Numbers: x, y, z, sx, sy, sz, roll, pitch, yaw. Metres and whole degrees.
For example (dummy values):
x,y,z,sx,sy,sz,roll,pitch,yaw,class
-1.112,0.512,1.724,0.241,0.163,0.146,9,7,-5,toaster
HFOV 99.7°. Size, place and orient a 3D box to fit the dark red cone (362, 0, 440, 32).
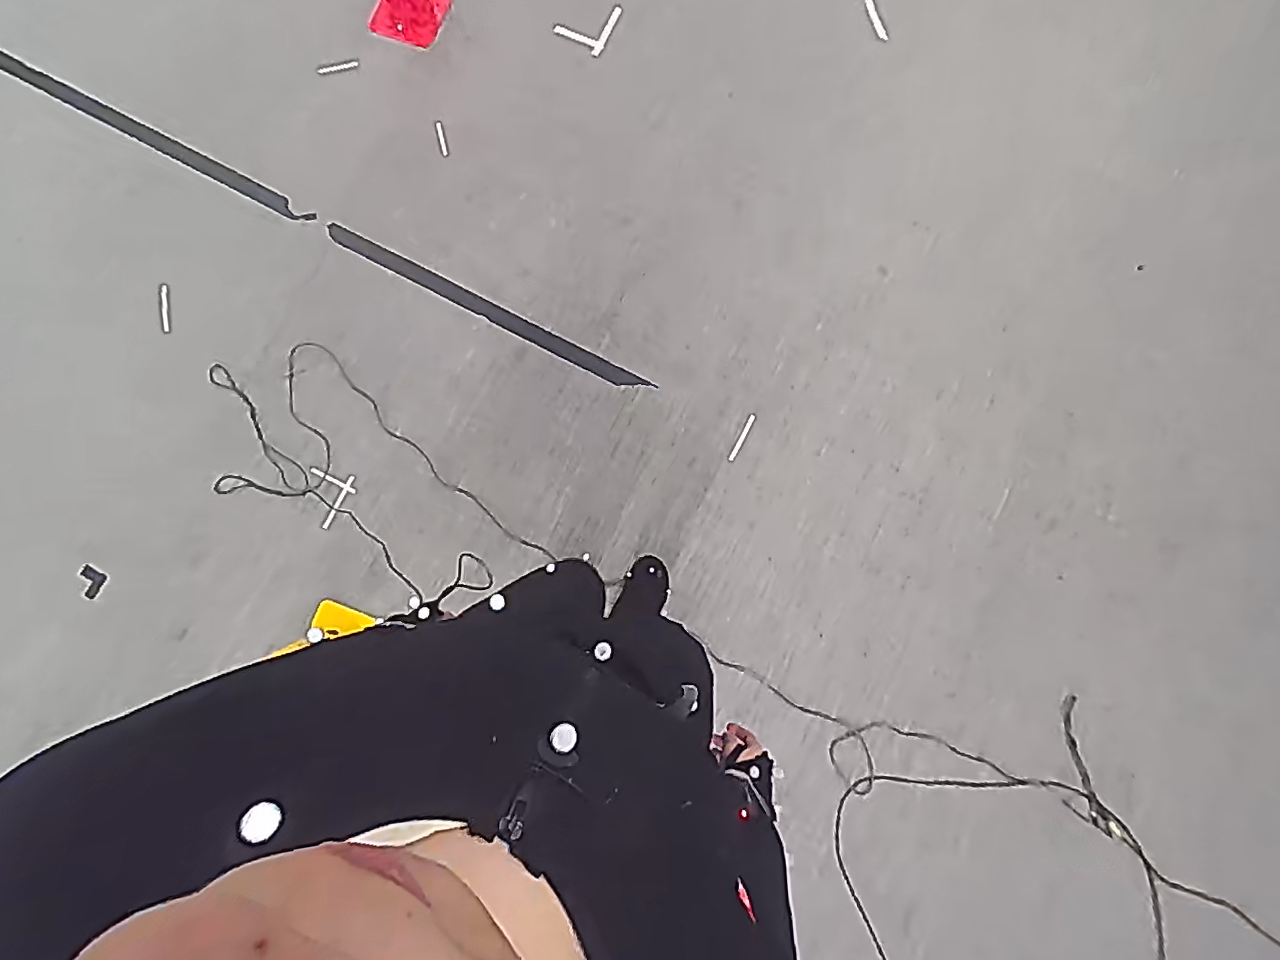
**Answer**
x,y,z,sx,sy,sz,roll,pitch,yaw,class
-0.684,-1.419,1.402,0.202,0.394,0.201,20,84,4,dark red cone
